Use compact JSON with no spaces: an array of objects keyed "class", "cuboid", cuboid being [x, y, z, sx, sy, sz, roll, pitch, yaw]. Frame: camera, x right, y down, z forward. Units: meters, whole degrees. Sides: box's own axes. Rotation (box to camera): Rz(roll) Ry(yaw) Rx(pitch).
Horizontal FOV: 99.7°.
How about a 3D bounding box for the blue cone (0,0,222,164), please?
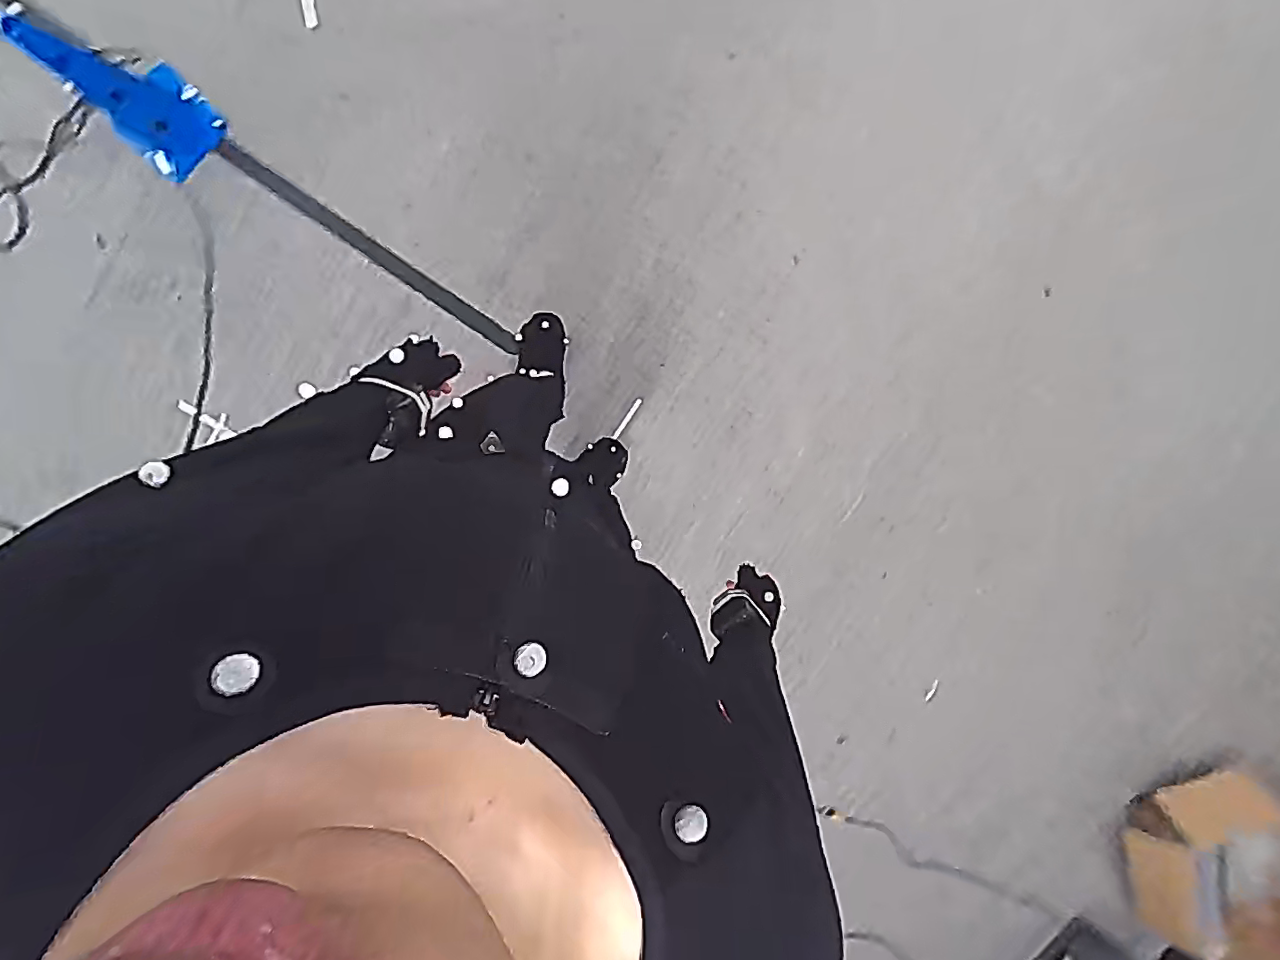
[{"class":"blue cone","cuboid":[-1.093,-0.832,1.098,0.192,0.380,0.193,-42,100,3]}]
